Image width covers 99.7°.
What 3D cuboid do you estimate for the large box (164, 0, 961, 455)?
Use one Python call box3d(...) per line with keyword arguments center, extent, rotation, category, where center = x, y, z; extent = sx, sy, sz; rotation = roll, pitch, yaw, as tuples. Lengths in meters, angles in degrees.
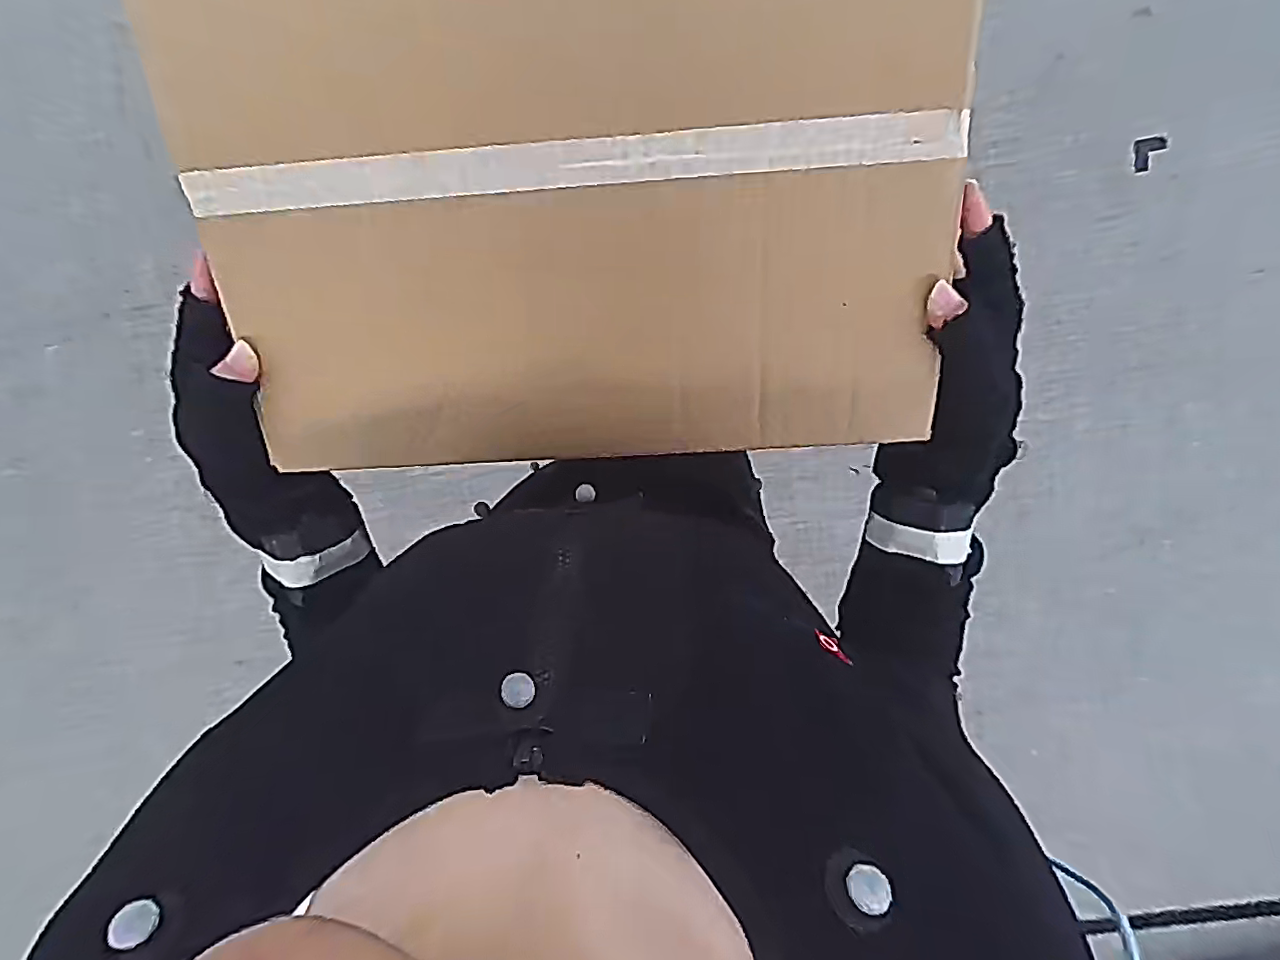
box3d(center=(-0.035, -0.221, 0.432), extent=(0.408, 0.320, 0.320), rotation=(-3, 110, 3), category="large box")
